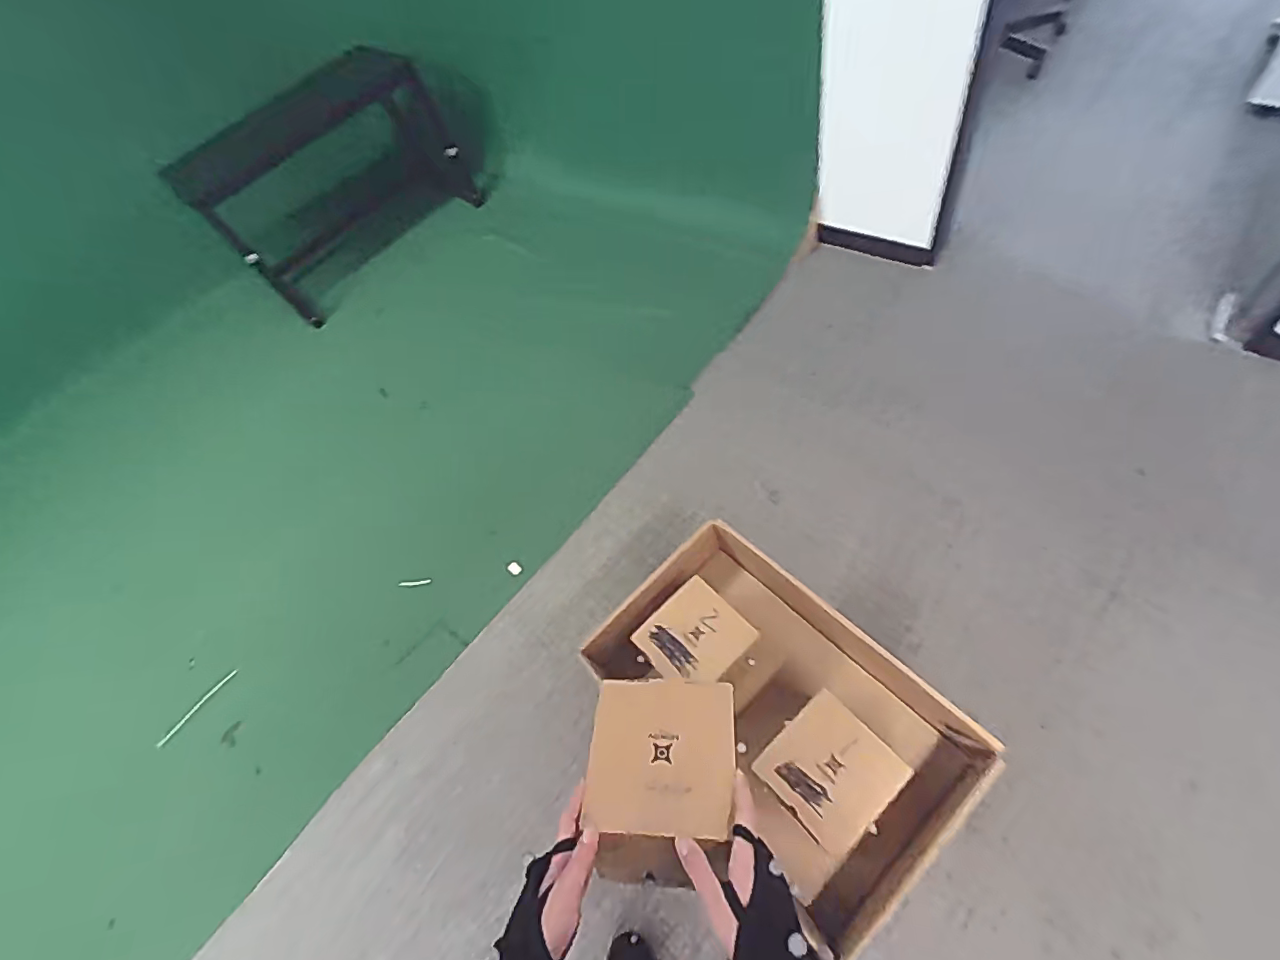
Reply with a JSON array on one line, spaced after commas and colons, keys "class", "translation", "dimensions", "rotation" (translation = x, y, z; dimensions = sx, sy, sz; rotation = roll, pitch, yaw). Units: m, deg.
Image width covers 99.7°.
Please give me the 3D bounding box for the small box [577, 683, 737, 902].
[{"class": "small box", "translation": [0.029, 0.373, 0.656], "dimensions": [0.168, 0.176, 0.179], "rotation": [-1, 37, 7]}]
